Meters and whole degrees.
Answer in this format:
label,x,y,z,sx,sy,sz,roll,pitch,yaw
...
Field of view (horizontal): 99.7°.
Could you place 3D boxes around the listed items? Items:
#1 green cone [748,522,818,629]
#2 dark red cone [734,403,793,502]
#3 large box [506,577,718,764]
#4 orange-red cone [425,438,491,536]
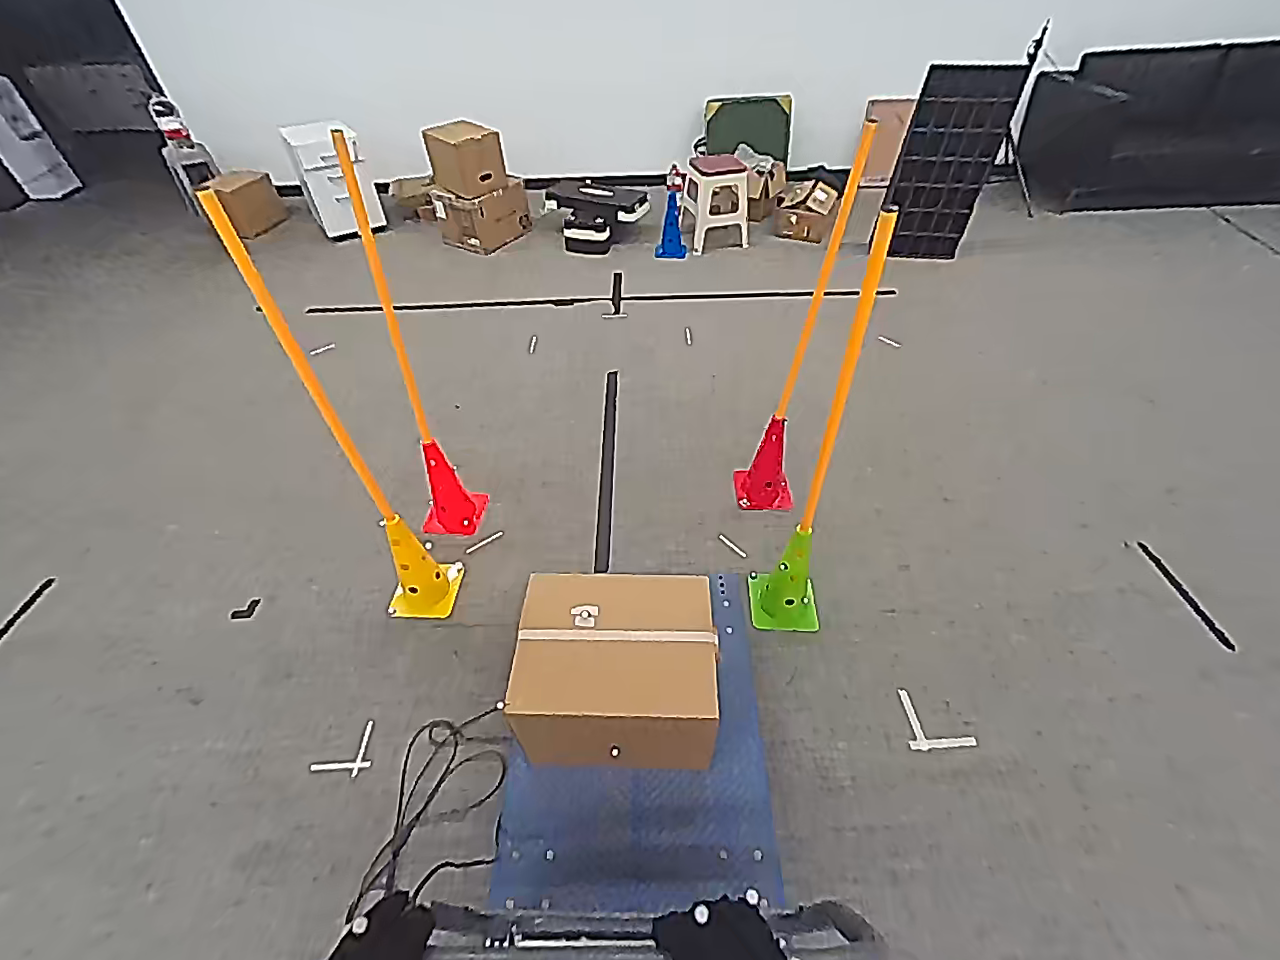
label,x,y,z,sx,sy,sz,roll,pitch,yaw
green cone,0.447,0.255,1.577,0.202,0.368,0.200,2,46,2
dark red cone,0.461,-0.103,1.904,0.201,0.394,0.202,0,46,-1
large box,-0.045,0.432,1.217,0.408,0.320,0.320,0,46,3
orange-red cone,-0.668,-0.001,1.865,0.198,0.360,0.199,5,45,5
